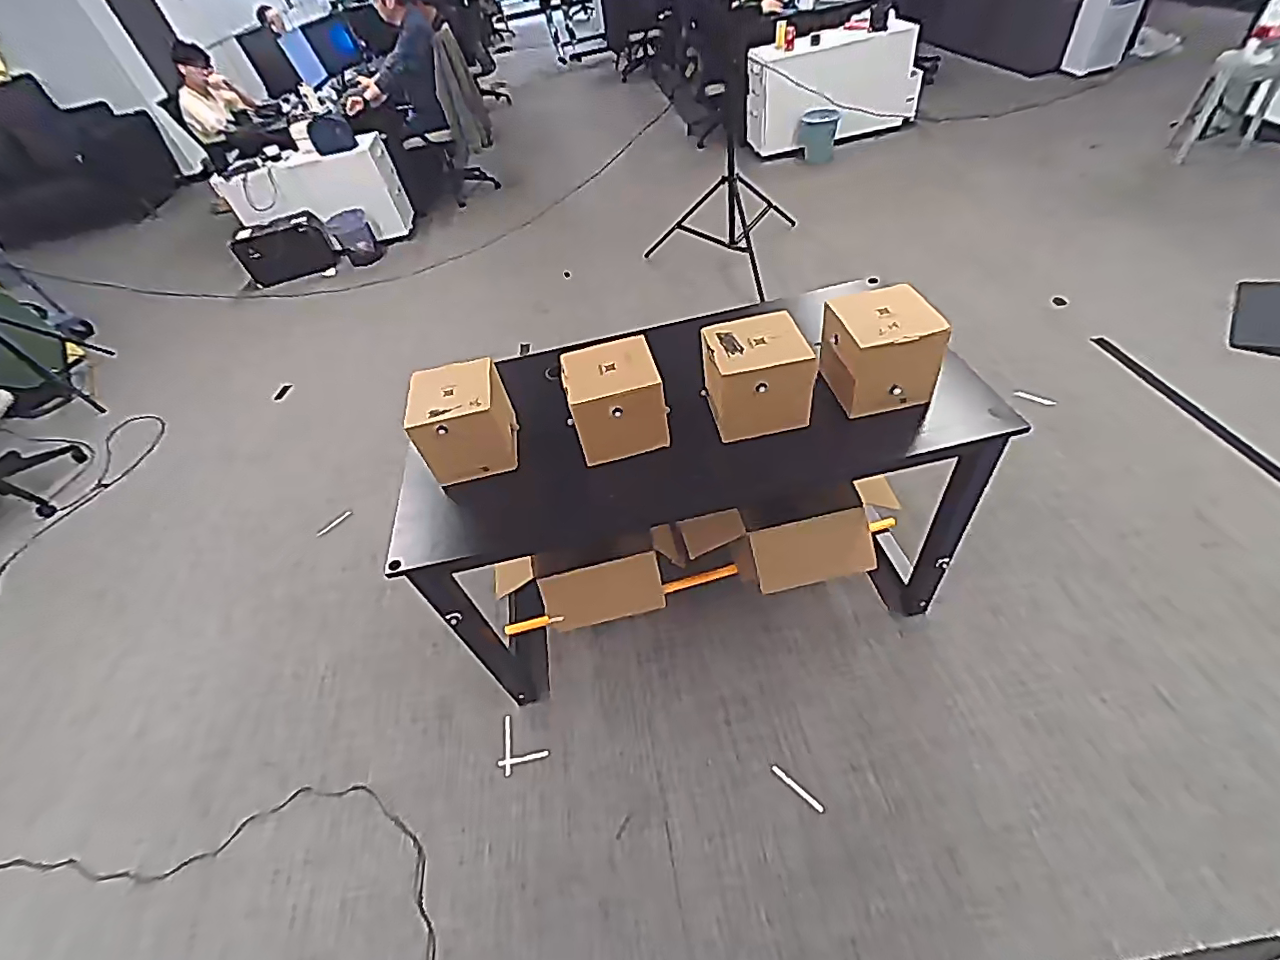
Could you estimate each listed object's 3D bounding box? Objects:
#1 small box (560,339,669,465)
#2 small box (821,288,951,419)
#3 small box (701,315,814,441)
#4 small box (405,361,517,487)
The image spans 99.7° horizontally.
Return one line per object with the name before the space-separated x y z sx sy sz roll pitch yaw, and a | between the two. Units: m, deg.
small box | -0.049 -0.152 1.085 0.179 0.176 0.168 -14 48 -3
small box | 0.467 -0.246 1.061 0.168 0.176 0.179 -12 47 2
small box | 0.227 -0.195 1.065 0.179 0.176 0.168 -11 47 1
small box | -0.357 -0.114 1.110 0.168 0.176 0.179 -13 47 -1
